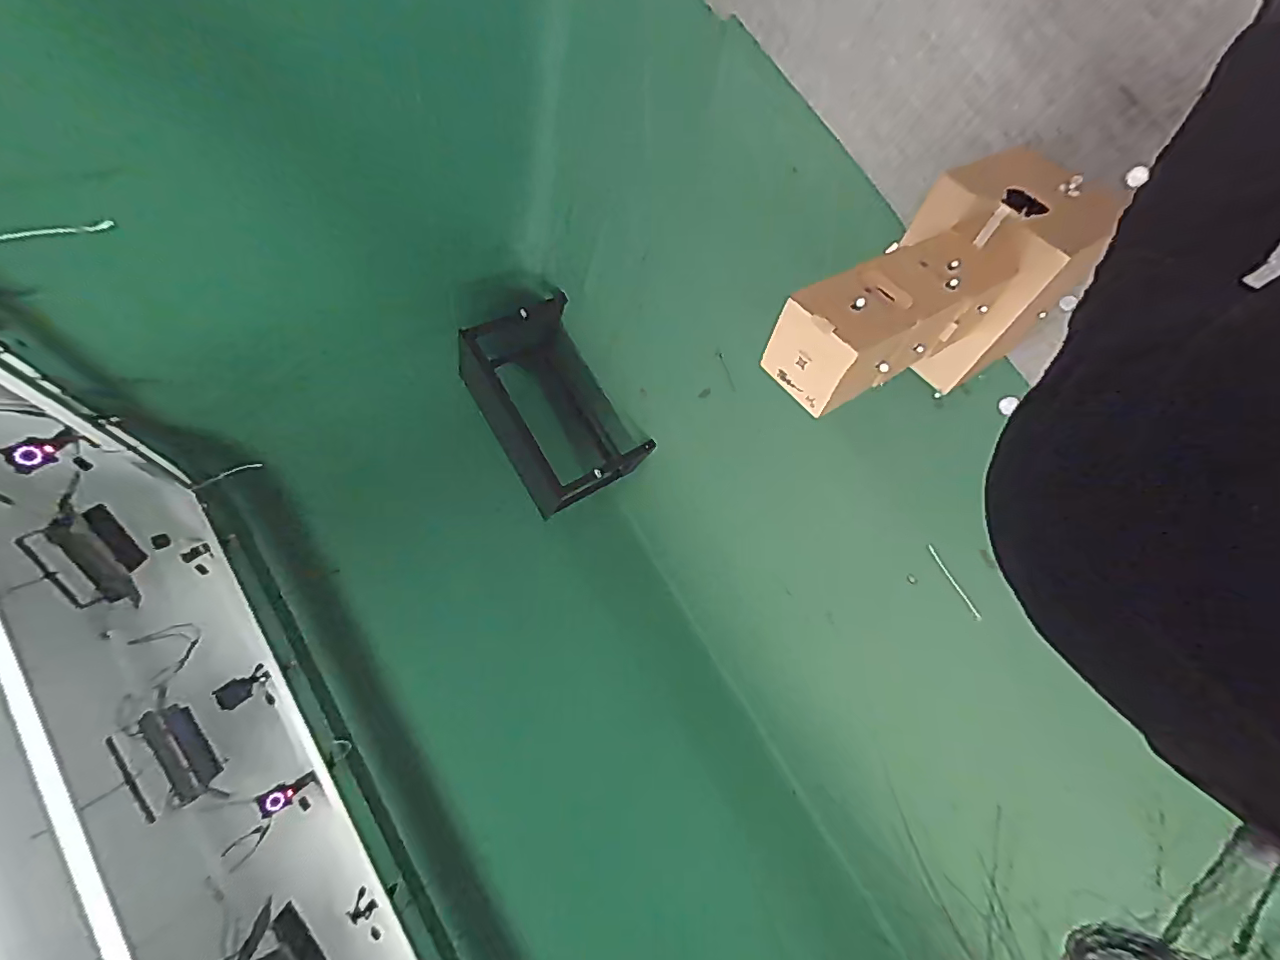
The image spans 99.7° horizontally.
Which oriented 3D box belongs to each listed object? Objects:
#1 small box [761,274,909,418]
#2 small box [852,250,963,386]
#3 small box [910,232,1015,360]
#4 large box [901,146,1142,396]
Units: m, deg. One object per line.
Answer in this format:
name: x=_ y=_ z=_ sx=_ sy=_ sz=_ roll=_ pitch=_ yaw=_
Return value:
small box: x=0.365 y=-0.254 z=1.013 sx=0.168 sy=0.176 sz=0.179 roll=52 pitch=154 yaw=22
small box: x=0.500 y=-0.326 z=1.075 sx=0.168 sy=0.176 sz=0.179 roll=51 pitch=155 yaw=23
small box: x=0.633 y=-0.393 z=1.142 sx=0.179 sy=0.176 sz=0.168 roll=52 pitch=155 yaw=22
large box: x=0.818 y=-0.487 z=1.278 sx=0.320 sy=0.320 sz=0.408 roll=53 pitch=157 yaw=23
